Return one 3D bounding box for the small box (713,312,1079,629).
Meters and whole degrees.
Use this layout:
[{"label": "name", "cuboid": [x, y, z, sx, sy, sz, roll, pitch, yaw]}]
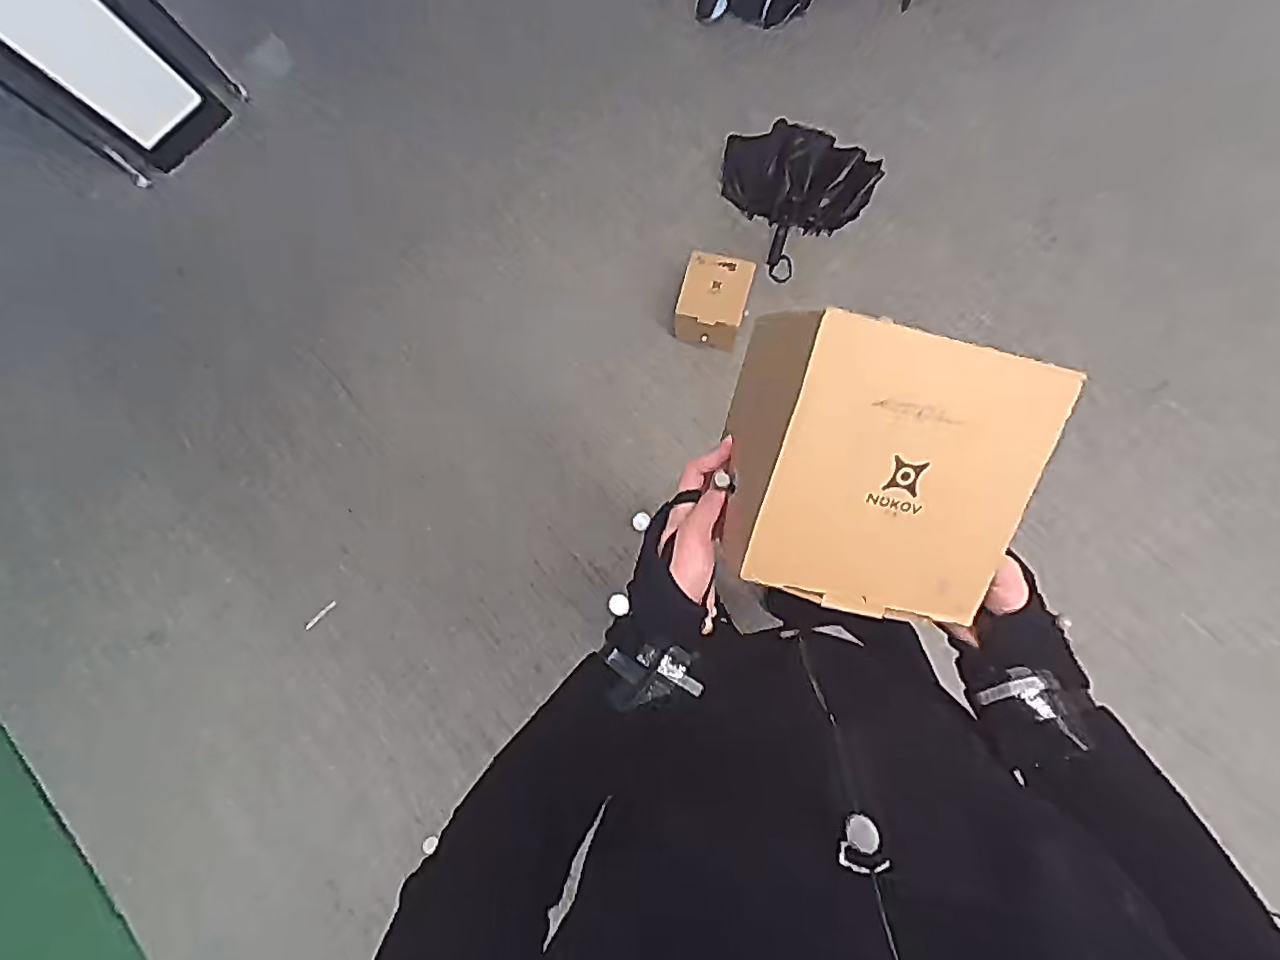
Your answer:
[{"label": "small box", "cuboid": [0.161, -0.018, 0.412, 0.168, 0.176, 0.179, 12, 104, -6]}]
